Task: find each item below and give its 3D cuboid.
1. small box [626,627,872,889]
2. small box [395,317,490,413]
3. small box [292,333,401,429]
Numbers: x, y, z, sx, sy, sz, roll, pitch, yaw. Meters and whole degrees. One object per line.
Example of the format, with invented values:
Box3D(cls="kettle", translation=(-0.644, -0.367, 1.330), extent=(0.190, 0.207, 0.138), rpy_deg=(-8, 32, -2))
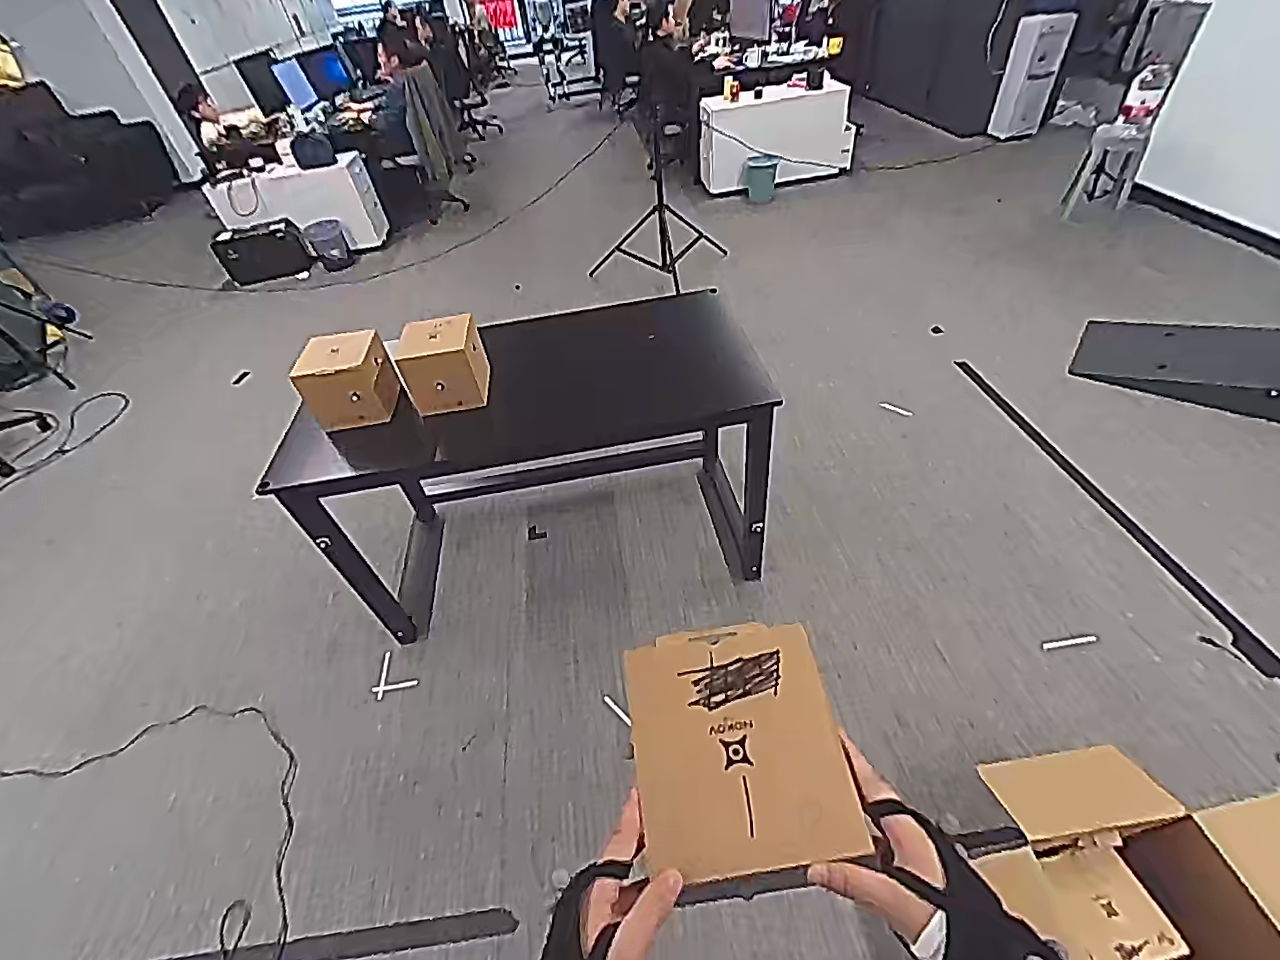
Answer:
Box3D(cls="small box", translation=(0.082, 0.259, 0.499), extent=(0.168, 0.176, 0.179), rpy_deg=(-9, 53, -1))
Box3D(cls="small box", translation=(-0.483, -0.281, 1.352), extent=(0.168, 0.176, 0.179), rpy_deg=(-9, 44, -2))
Box3D(cls="small box", translation=(-0.719, -0.240, 1.348), extent=(0.168, 0.176, 0.179), rpy_deg=(-9, 43, -3))
